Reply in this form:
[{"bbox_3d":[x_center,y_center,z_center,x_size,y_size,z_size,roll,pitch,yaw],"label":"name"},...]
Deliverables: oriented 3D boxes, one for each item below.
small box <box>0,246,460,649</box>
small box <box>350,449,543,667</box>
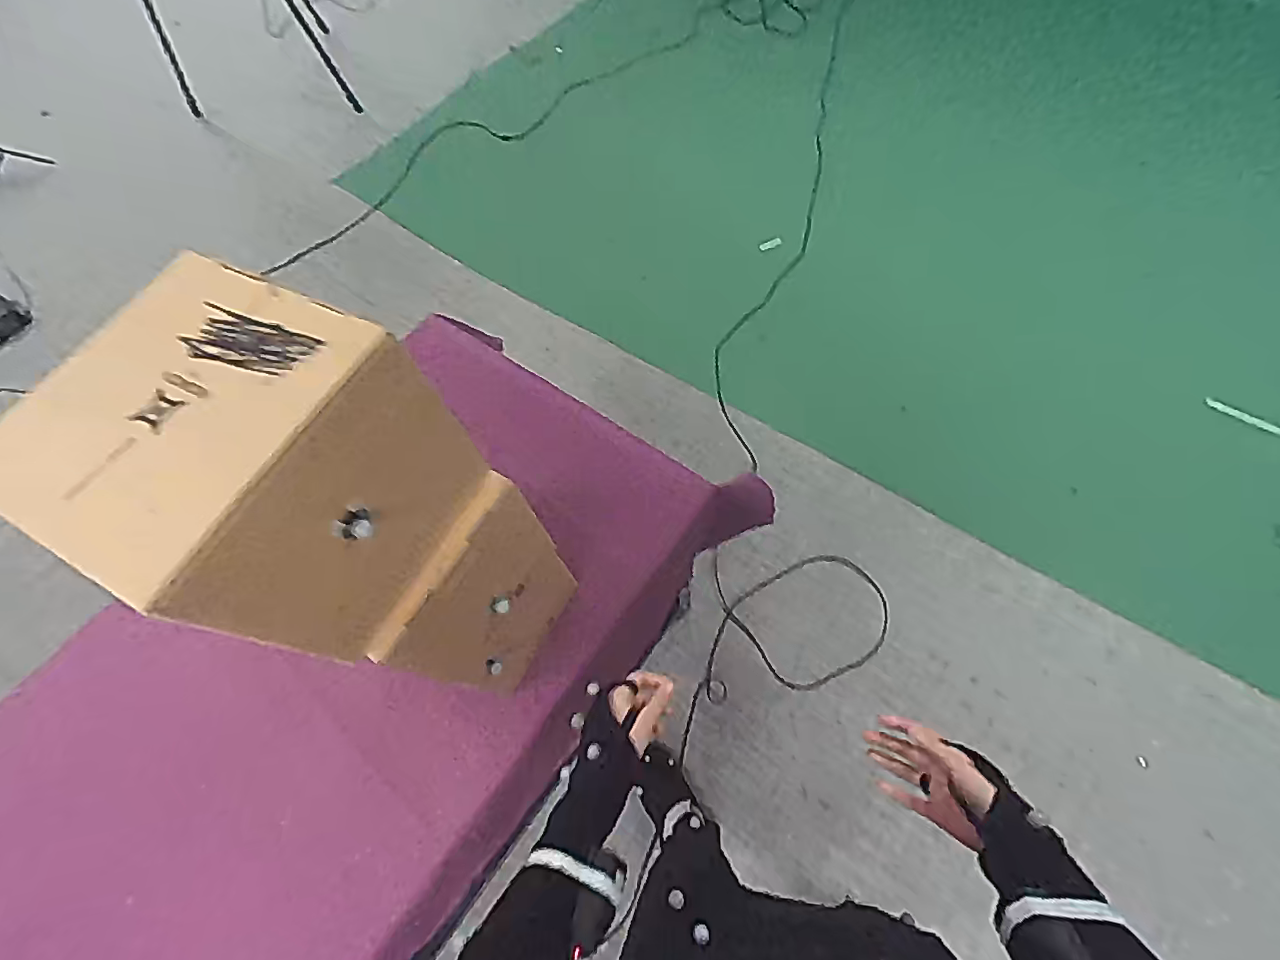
[{"bbox_3d":[-0.247,-0.011,0.360,0.168,0.176,0.179,23,69,16],"label":"small box"},{"bbox_3d":[-0.219,0.057,0.507,0.179,0.176,0.168,26,70,16],"label":"small box"}]
